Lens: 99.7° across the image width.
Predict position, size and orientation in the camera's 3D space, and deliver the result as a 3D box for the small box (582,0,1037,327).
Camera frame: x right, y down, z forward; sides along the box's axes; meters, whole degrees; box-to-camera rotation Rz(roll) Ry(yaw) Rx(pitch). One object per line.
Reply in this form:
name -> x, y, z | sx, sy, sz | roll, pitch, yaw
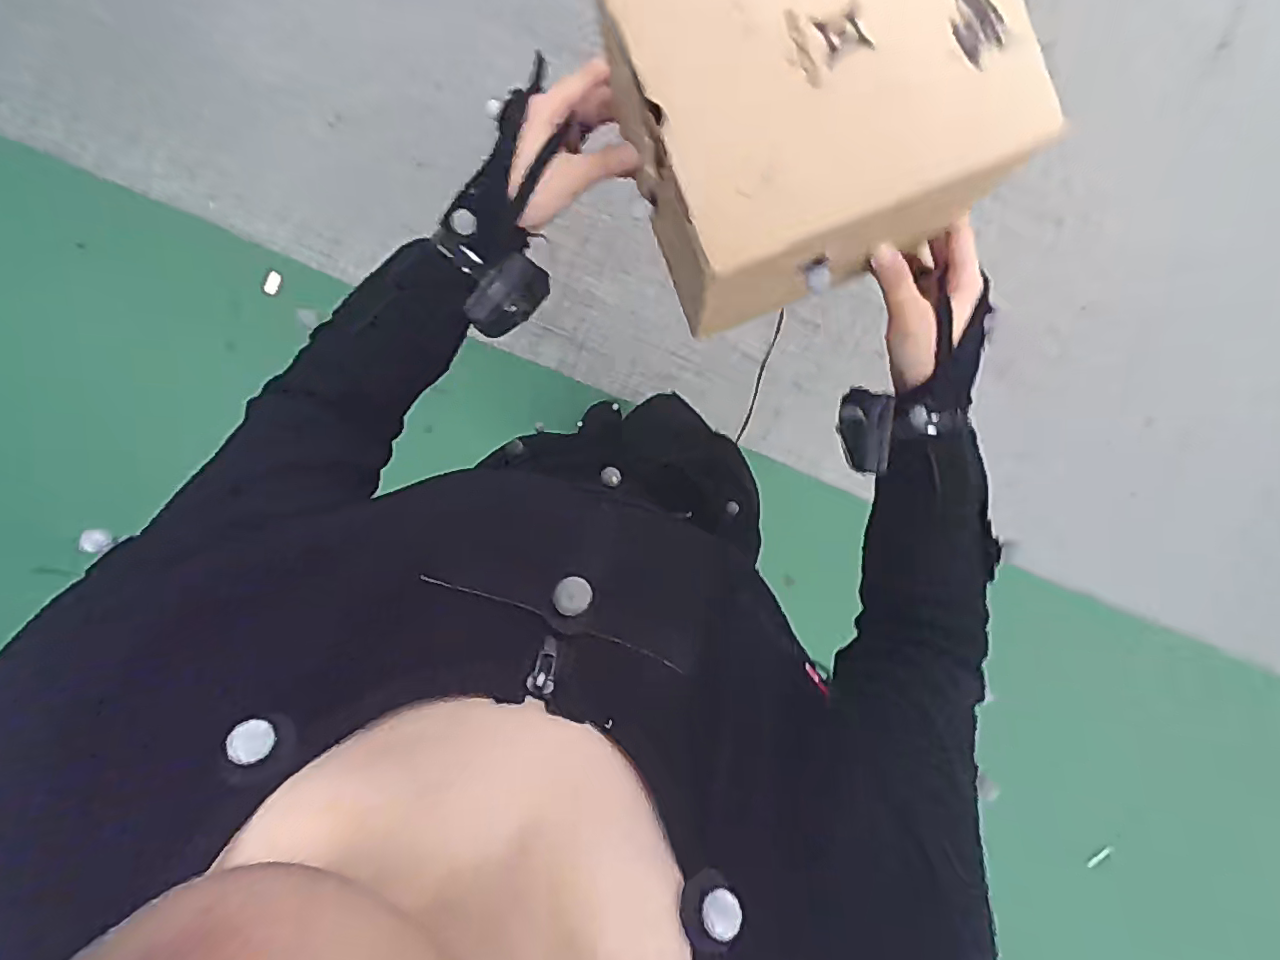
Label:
small box -> 0.084, -0.214, 0.337 | 0.179, 0.176, 0.168 | -21, 93, 6
